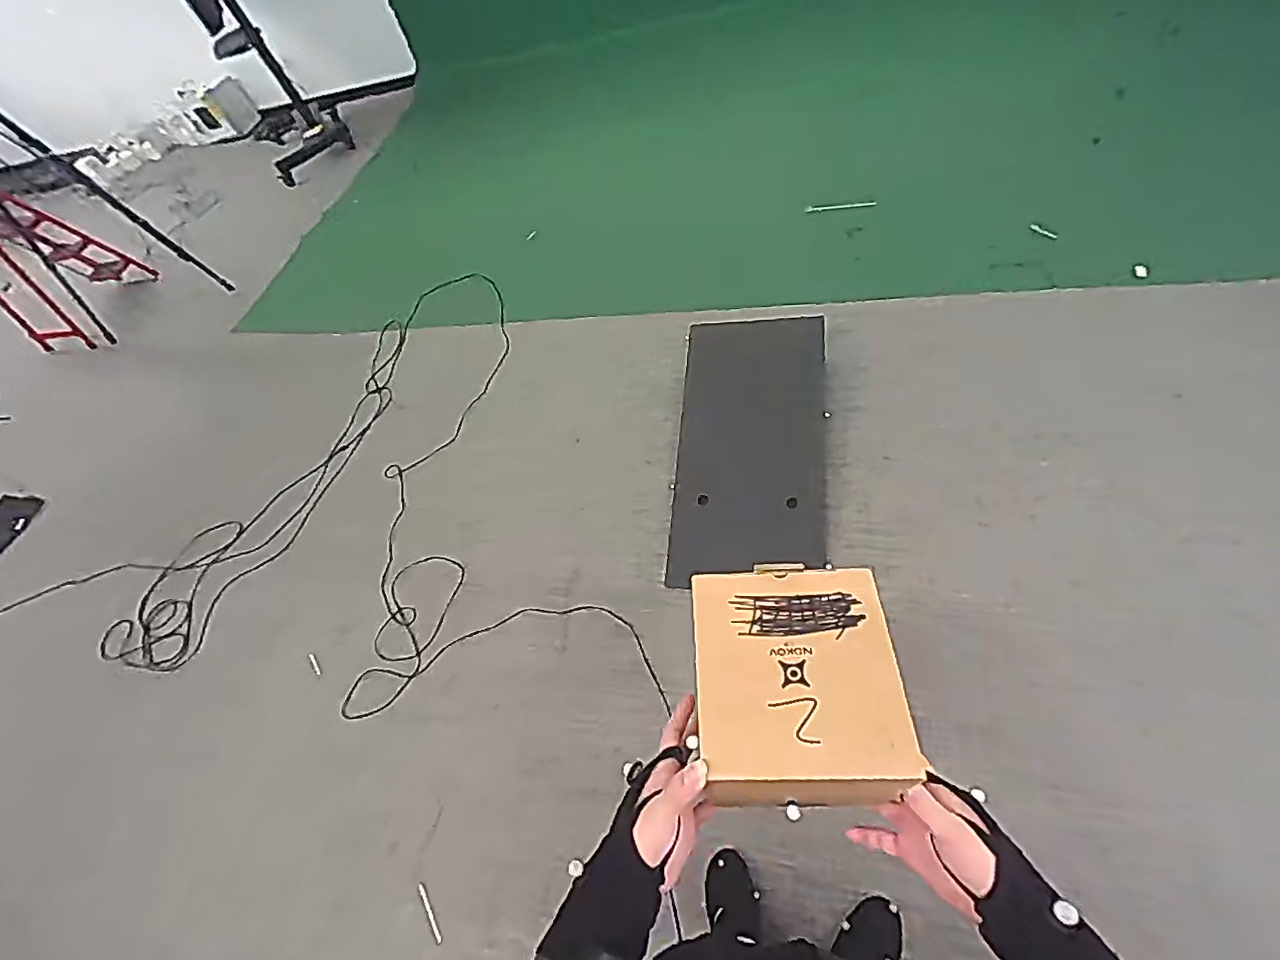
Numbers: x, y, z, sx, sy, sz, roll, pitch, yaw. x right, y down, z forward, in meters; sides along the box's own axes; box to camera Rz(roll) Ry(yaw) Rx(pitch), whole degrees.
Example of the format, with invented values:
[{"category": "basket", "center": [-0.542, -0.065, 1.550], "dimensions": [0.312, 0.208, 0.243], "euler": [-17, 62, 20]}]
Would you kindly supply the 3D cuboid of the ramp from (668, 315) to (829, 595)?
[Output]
[{"category": "ramp", "center": [0.378, -0.126, 1.824], "dimensions": [0.509, 0.206, 0.991], "euler": [0, 58, 14]}]
